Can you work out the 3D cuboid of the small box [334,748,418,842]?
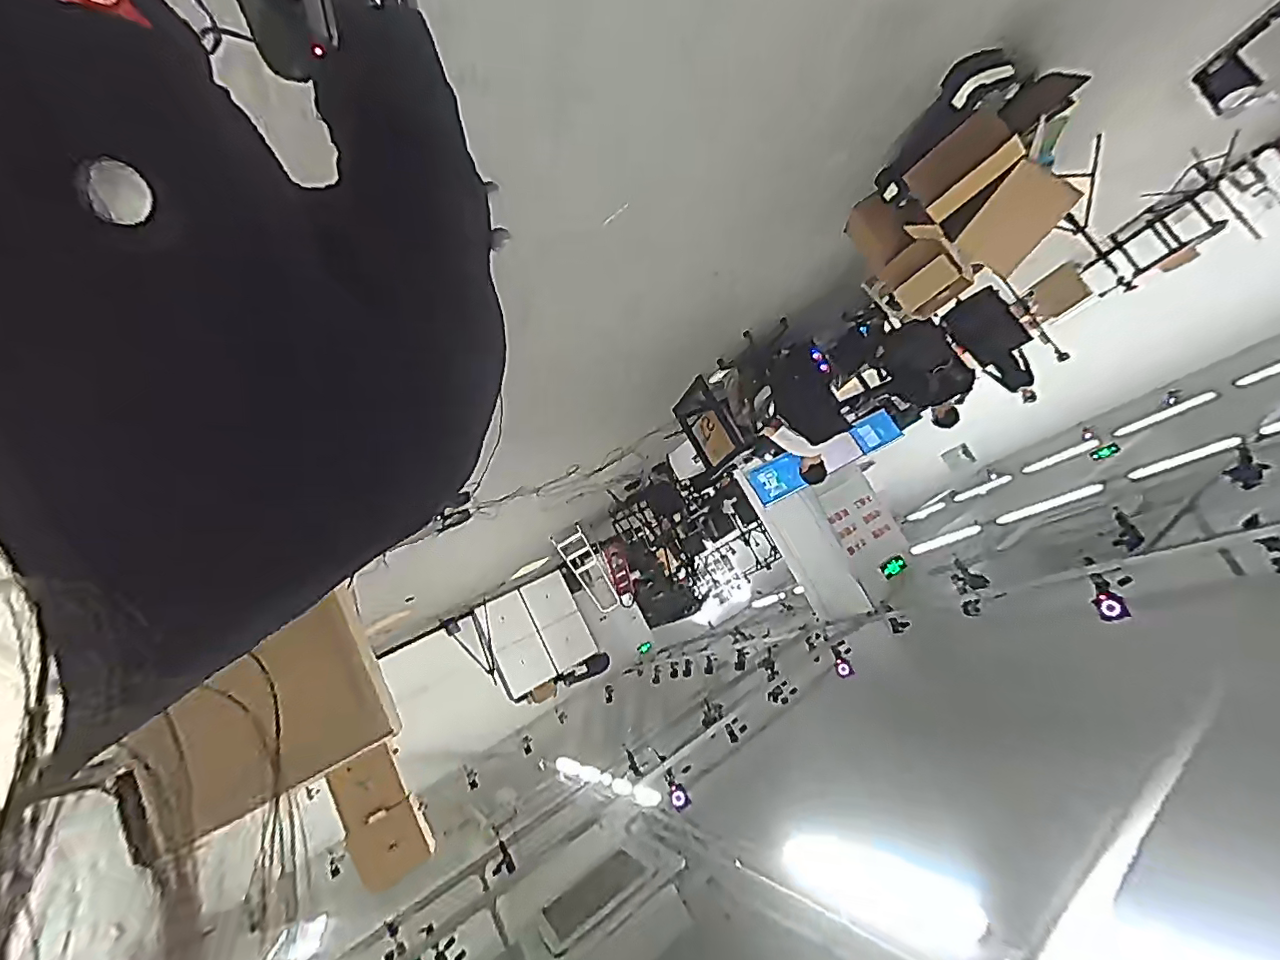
[{"bbox_3d":[-0.754,0.894,1.551,0.168,0.176,0.179,-25,165,-27],"label":"small box"}]

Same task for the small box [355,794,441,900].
[{"bbox_3d":[-0.677,1.016,1.514,0.179,0.176,0.168,-26,167,-27],"label":"small box"}]
